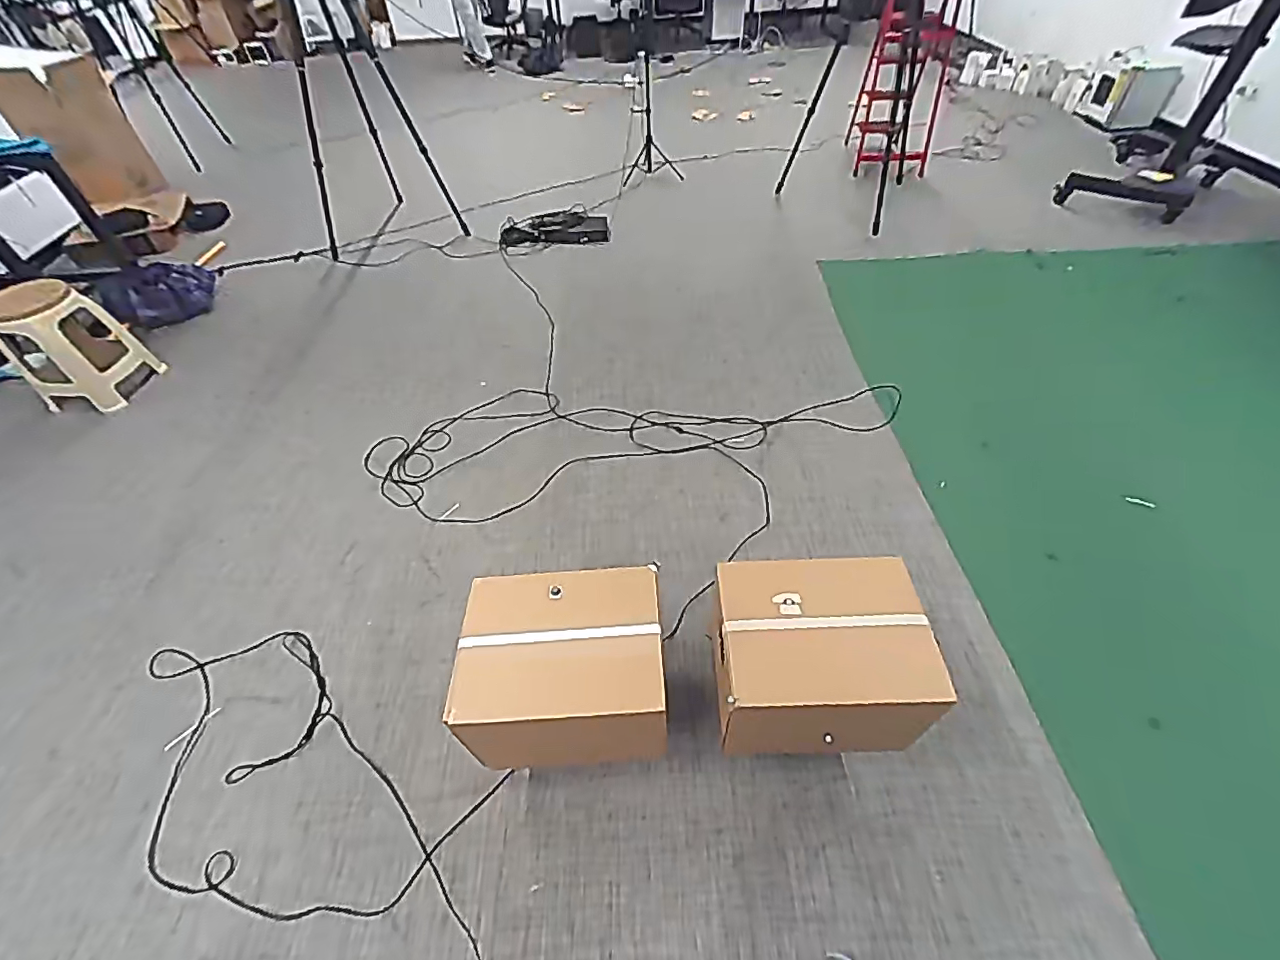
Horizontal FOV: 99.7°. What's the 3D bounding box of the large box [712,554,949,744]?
[{"bbox_3d":[0.381,0.384,1.207,0.408,0.320,0.320,-2,49,2],"label":"large box"}]
